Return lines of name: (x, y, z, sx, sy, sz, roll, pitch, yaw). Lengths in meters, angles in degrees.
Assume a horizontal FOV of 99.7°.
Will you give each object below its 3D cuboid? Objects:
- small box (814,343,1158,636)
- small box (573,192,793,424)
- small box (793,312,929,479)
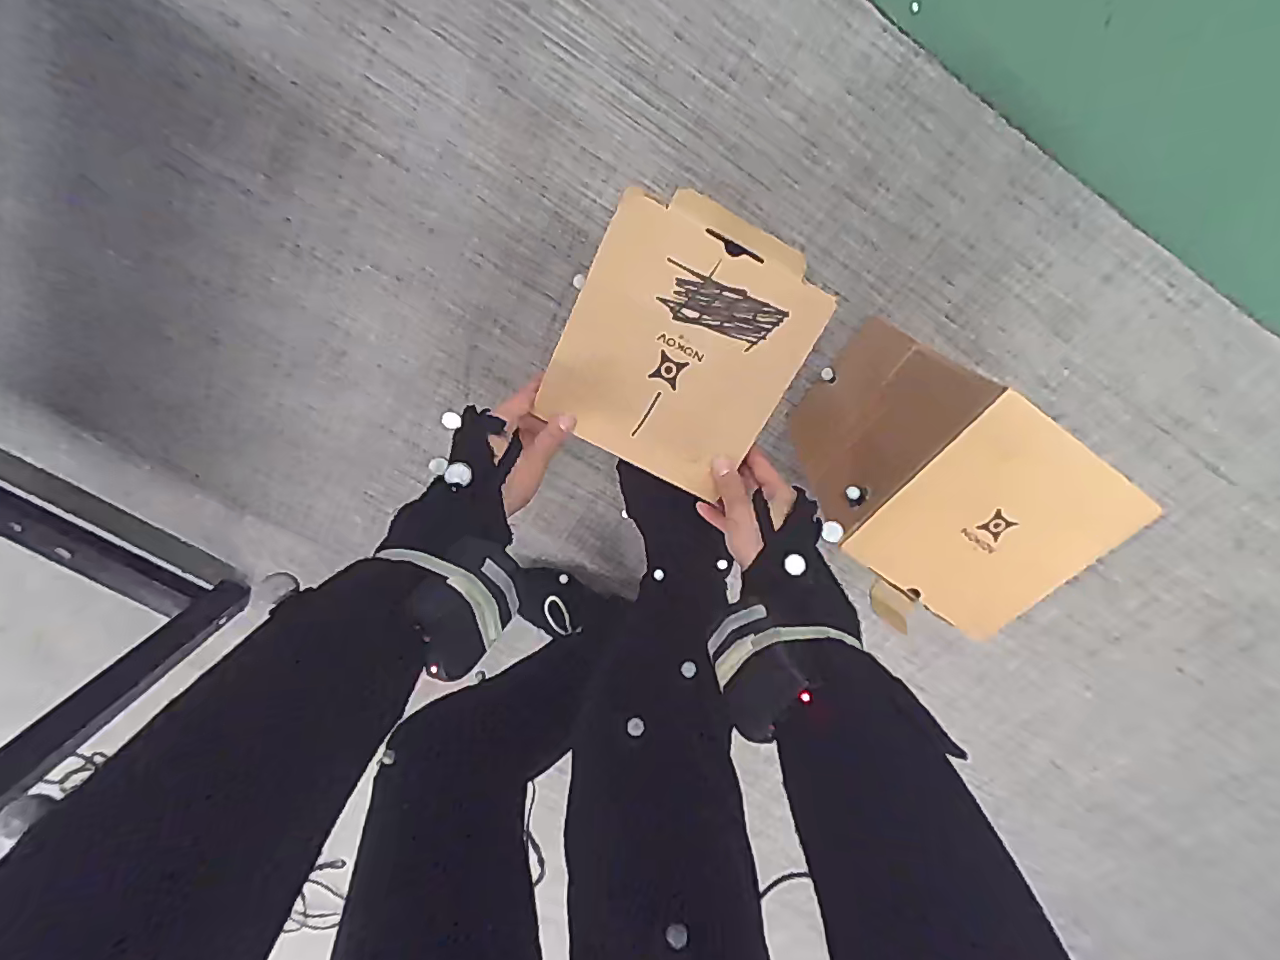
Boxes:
small box: (0.286, -0.001, 0.499, 0.168, 0.176, 0.179, 33, 115, -9)
small box: (0.047, -0.199, 0.617, 0.168, 0.176, 0.179, 28, 117, -6)
small box: (0.302, -0.073, 0.645, 0.168, 0.176, 0.179, 32, 117, -9)
